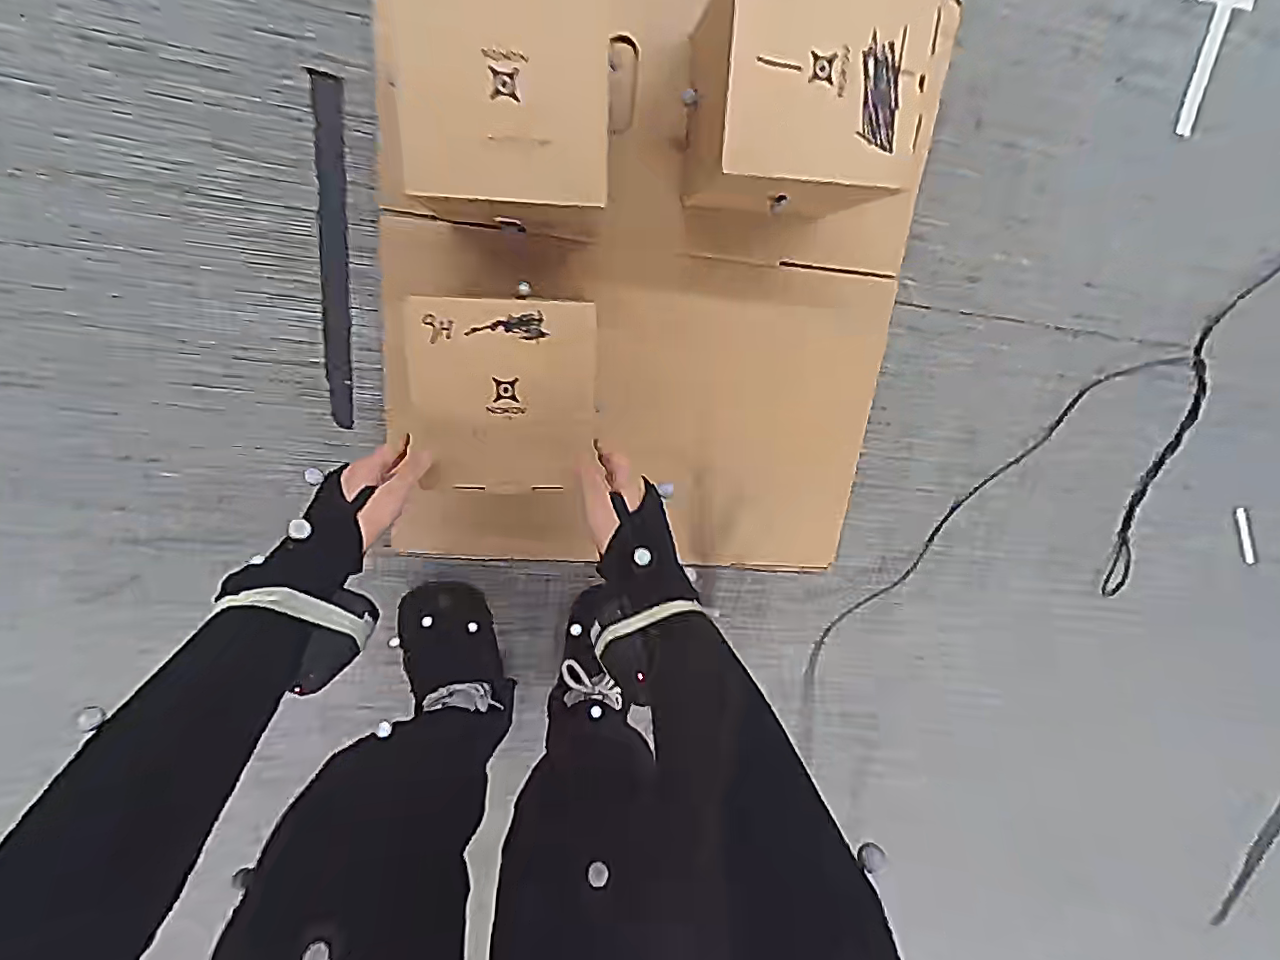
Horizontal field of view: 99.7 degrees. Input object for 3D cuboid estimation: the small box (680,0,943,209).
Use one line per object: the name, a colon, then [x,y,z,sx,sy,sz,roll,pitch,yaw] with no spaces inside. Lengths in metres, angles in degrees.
small box: [0.146,-0.365,0.516,0.179,0.176,0.168,0,108,-8]

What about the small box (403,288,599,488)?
small box: [-0.130,-0.102,0.561,0.168,0.176,0.179,-1,110,-8]
